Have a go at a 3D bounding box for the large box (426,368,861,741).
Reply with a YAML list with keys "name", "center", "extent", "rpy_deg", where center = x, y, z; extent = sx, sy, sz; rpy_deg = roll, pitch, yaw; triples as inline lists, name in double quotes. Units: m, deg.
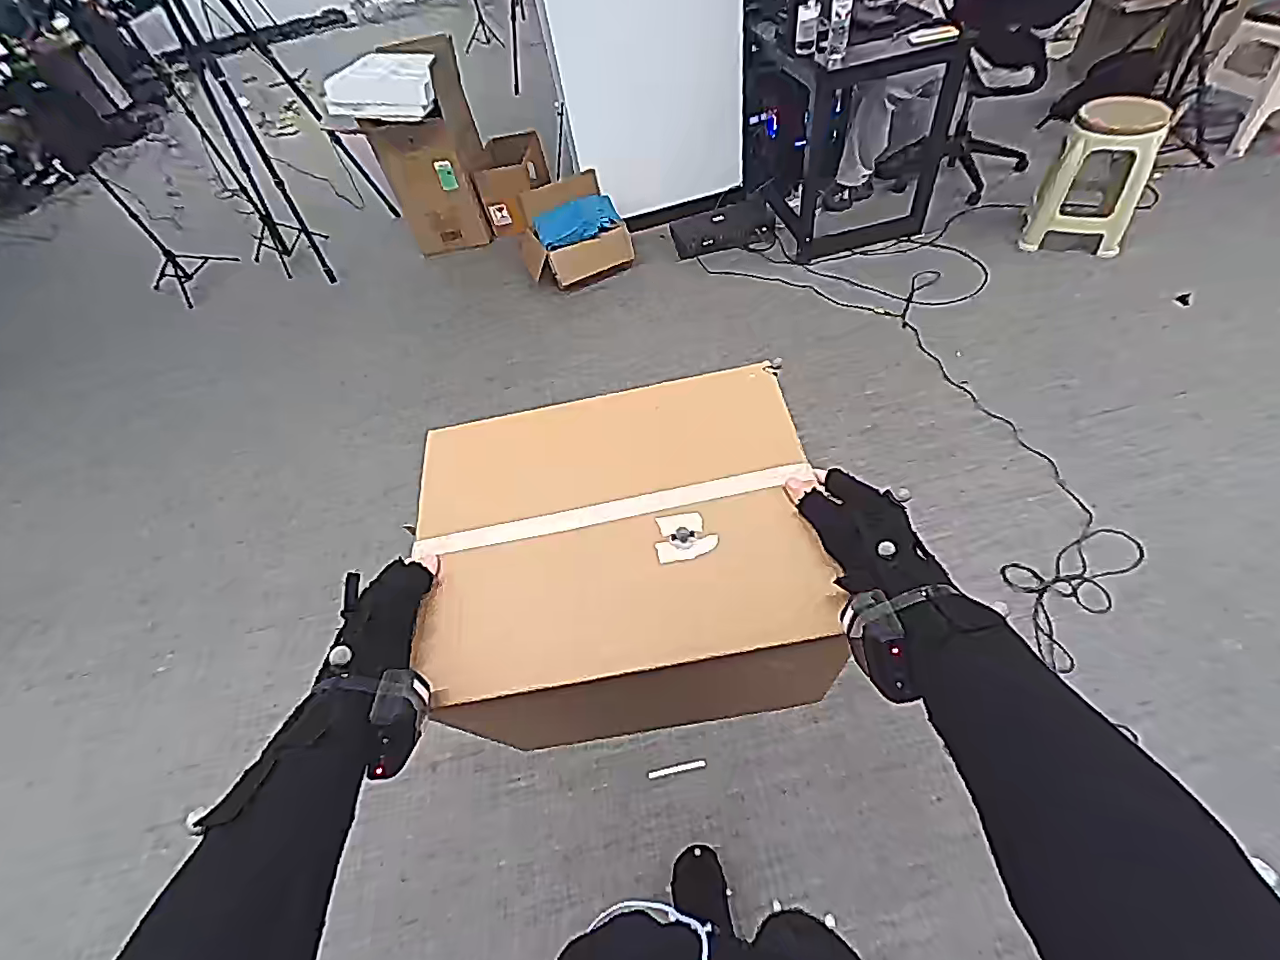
- name: "large box"
  center: [-0.002, 0.111, 0.682]
  extent: [0.408, 0.320, 0.320]
  rpy_deg: [-11, 57, 2]
